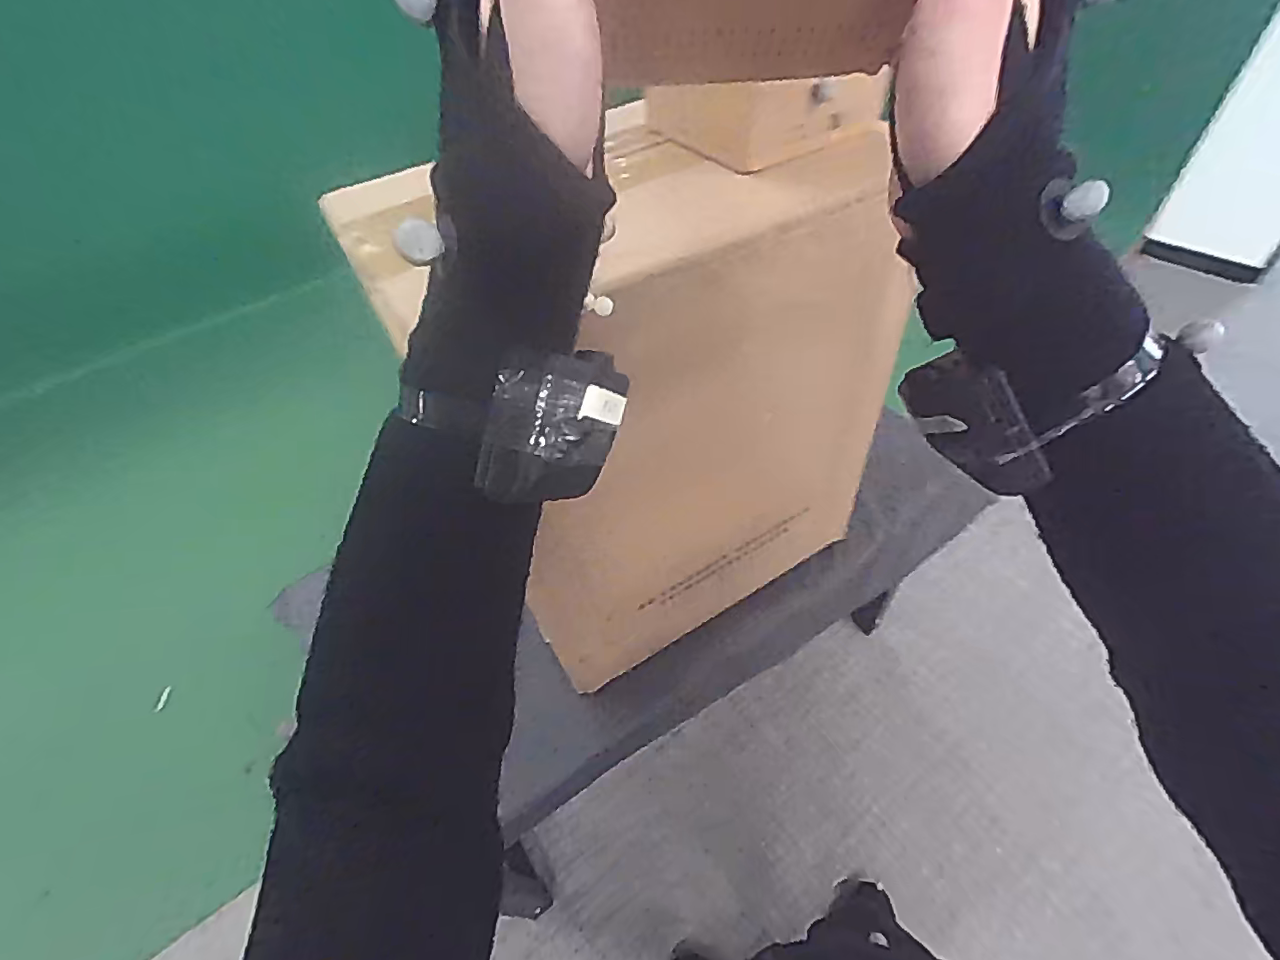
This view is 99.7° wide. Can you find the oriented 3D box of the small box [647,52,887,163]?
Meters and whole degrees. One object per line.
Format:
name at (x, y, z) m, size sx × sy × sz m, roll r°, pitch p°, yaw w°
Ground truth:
small box at (0.112, -0.420, 0.499) m, size 0.168 × 0.176 × 0.179 m, roll -27°, pitch 54°, yaw -17°
